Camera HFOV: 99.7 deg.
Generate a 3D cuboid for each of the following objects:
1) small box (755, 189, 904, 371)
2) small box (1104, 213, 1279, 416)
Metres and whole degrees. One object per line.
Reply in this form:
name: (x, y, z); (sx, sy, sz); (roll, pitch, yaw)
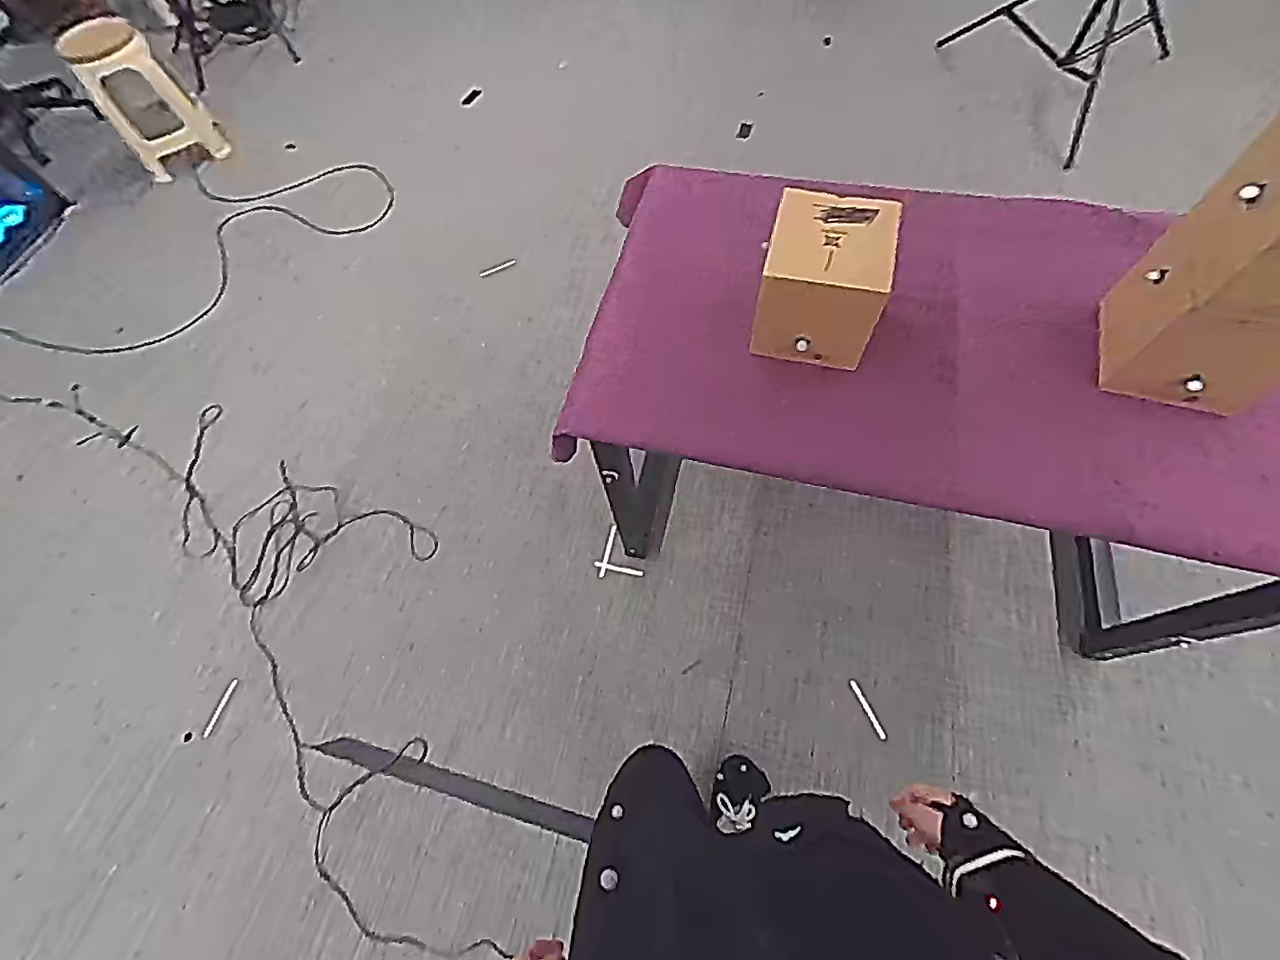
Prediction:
small box: (0.273, -0.293, 0.805); (0.168, 0.176, 0.179); (13, 67, 11)
small box: (0.768, -0.216, 0.724); (0.168, 0.176, 0.179); (16, 67, 13)
